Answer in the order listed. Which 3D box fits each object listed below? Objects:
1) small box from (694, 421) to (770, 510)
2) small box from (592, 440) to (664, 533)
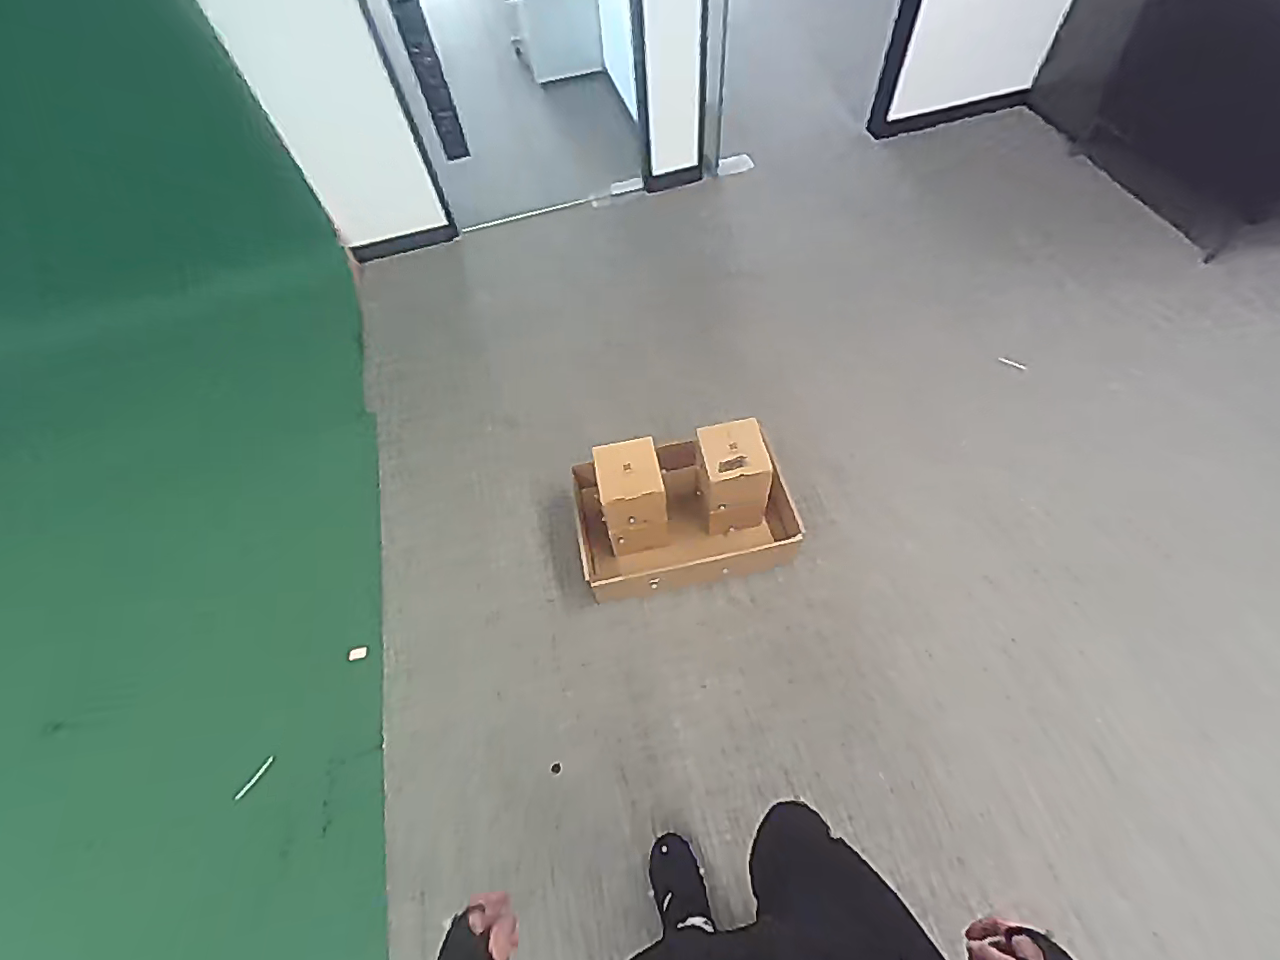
[{"bbox_3d":[0.246,-0.031,1.471,0.168,0.176,0.179,-11,58,-1],"label":"small box"},{"bbox_3d":[-0.032,0.021,1.463,0.168,0.176,0.179,-11,58,-3],"label":"small box"}]
